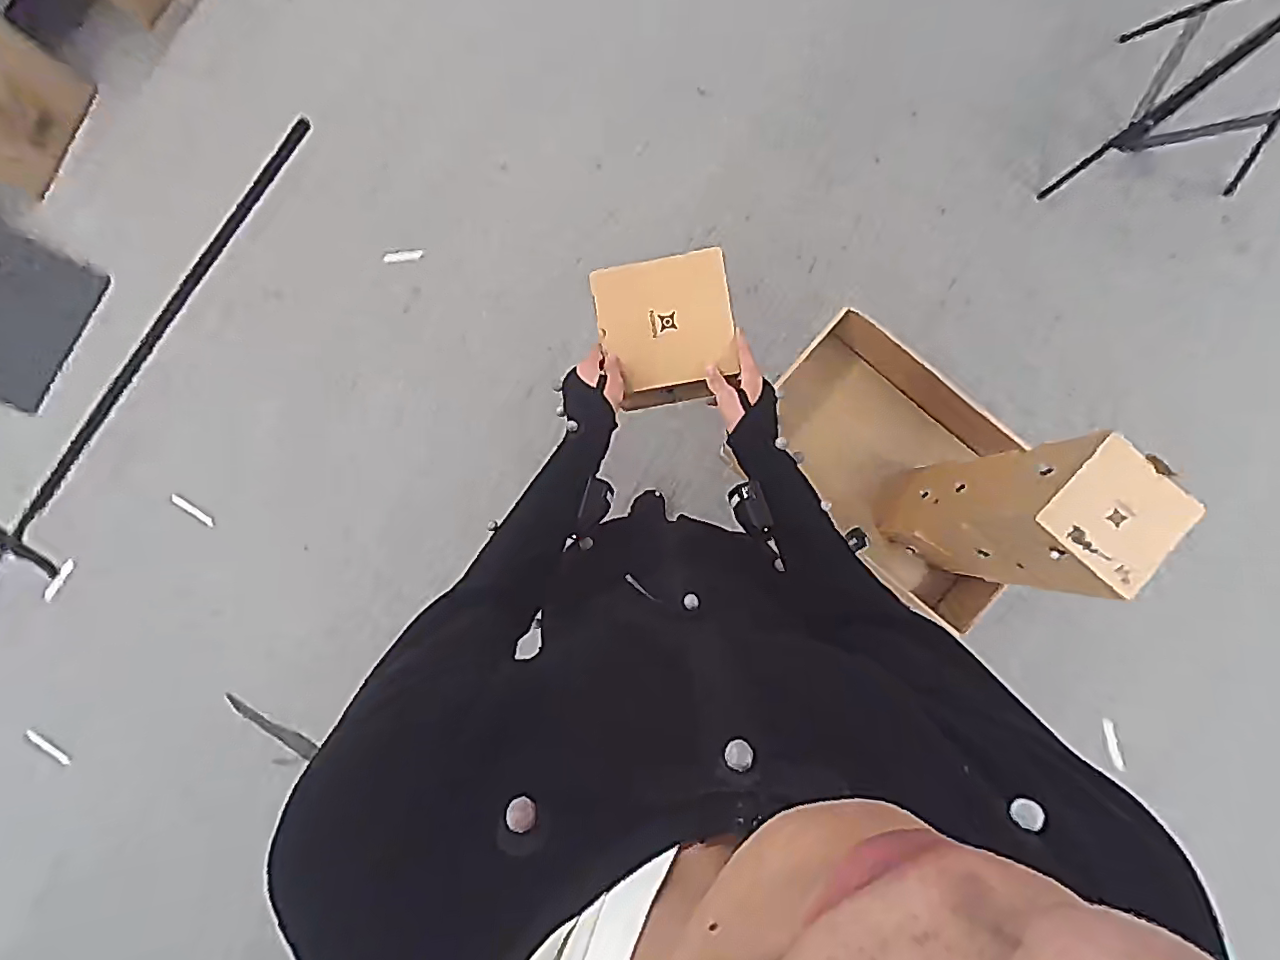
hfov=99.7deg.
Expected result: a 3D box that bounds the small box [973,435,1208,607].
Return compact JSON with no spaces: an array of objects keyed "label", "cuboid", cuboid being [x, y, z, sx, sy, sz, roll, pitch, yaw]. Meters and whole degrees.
[{"label":"small box","cuboid":[0.652,0.062,0.808,0.168,0.176,0.179,44,86,5]}]

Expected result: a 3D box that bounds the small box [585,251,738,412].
[{"label":"small box","cuboid":[0.034,-0.196,0.762,0.179,0.176,0.168,-9,90,7]}]

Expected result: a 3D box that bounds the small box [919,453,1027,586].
[{"label":"small box","cuboid":[0.649,0.078,0.972,0.179,0.176,0.168,38,87,4]}]
